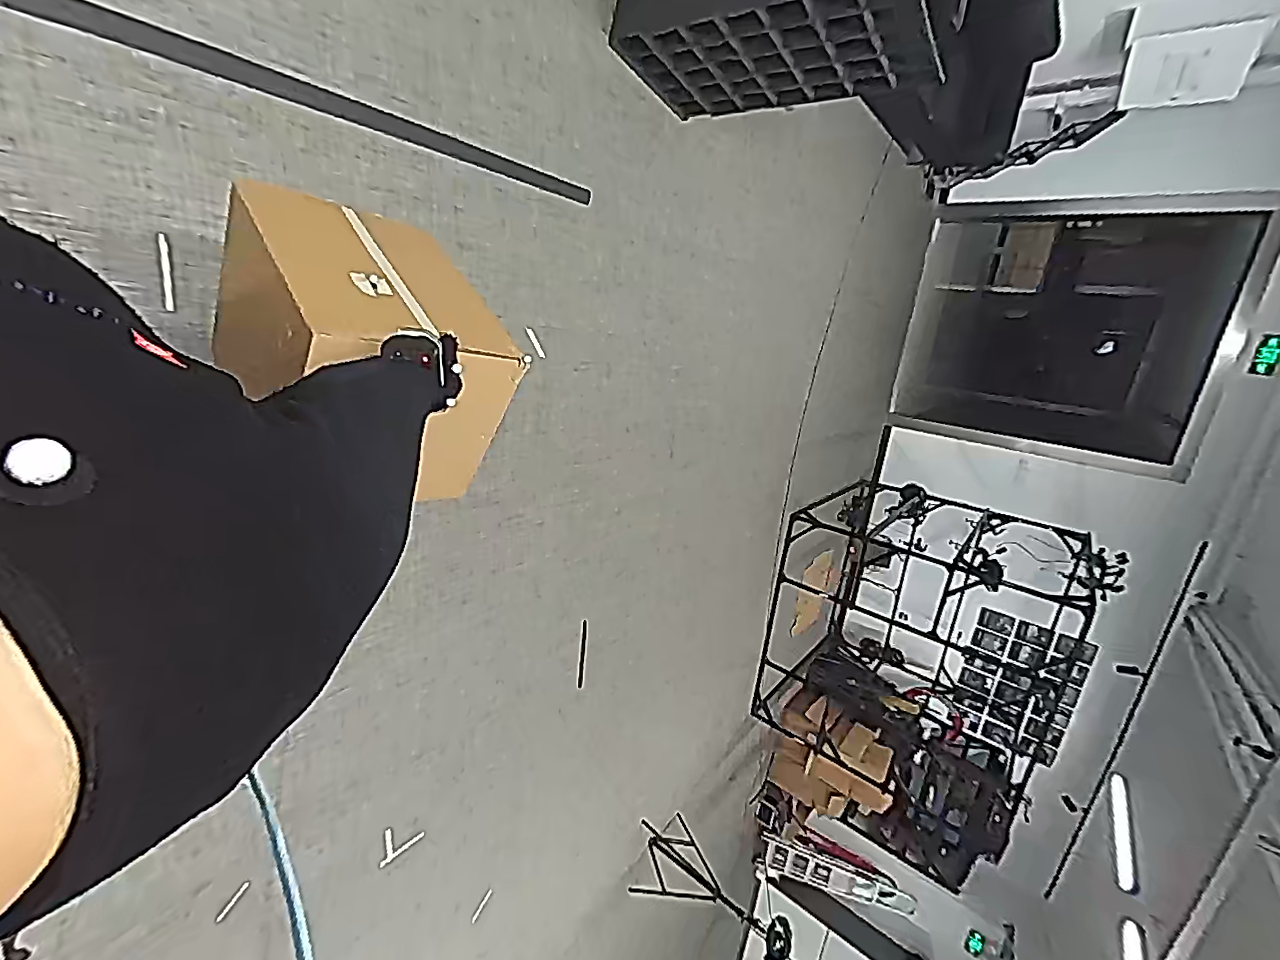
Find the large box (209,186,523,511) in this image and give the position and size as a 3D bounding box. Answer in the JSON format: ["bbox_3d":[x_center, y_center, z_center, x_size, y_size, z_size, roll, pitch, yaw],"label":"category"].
[{"bbox_3d":[-0.477,-0.205,0.918,0.320,0.408,0.320,-5,140,-49],"label":"large box"}]
